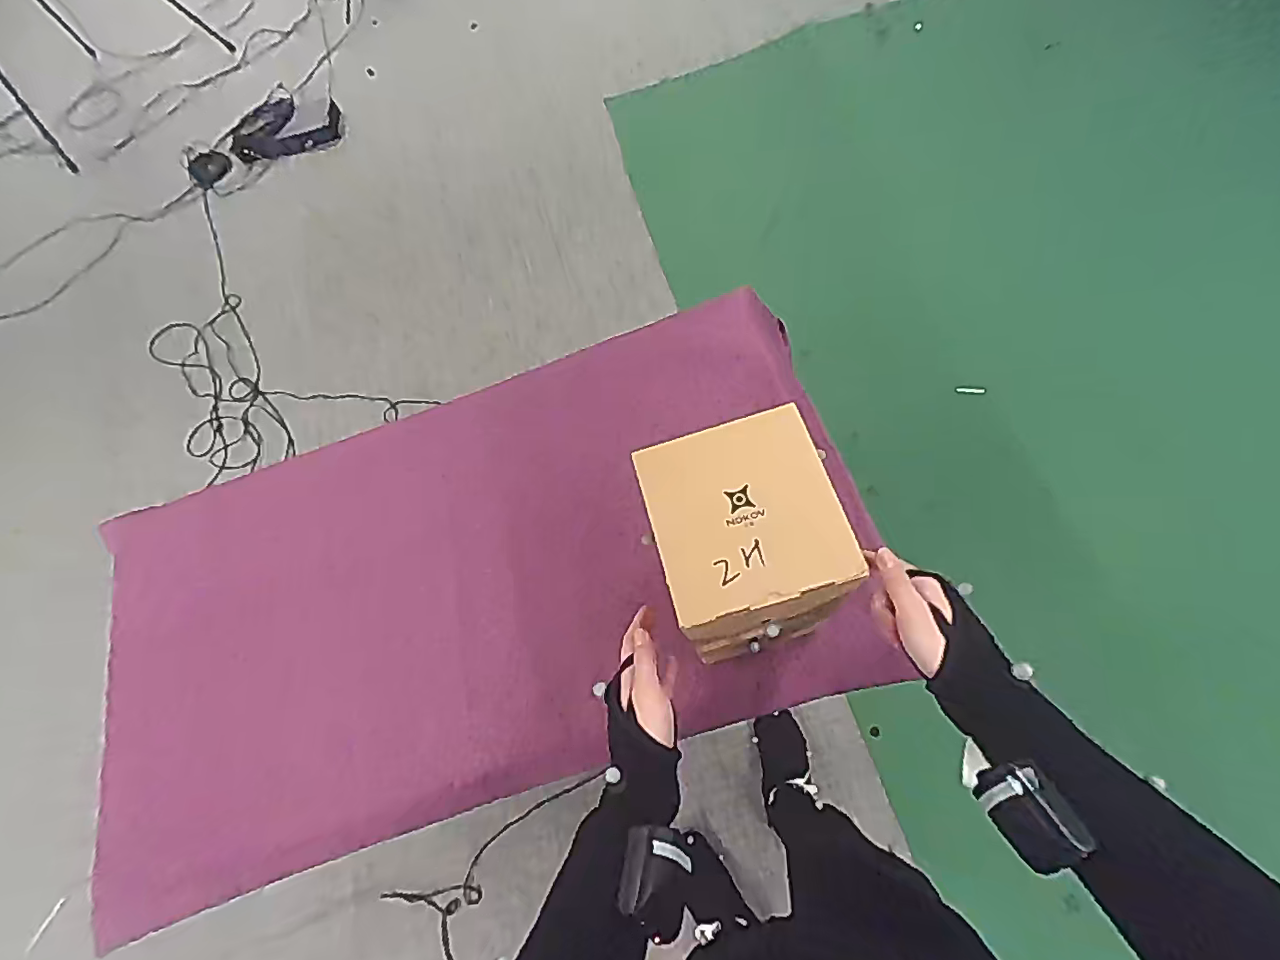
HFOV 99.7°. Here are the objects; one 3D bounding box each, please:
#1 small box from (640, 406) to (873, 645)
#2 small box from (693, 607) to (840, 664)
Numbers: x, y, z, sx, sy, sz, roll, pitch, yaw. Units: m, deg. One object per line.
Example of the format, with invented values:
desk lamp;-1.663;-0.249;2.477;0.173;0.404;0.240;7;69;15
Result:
small box;0.108;0.056;0.555;0.168;0.176;0.179;-17;66;4
small box;0.135;0.126;0.703;0.168;0.176;0.179;-18;65;3
